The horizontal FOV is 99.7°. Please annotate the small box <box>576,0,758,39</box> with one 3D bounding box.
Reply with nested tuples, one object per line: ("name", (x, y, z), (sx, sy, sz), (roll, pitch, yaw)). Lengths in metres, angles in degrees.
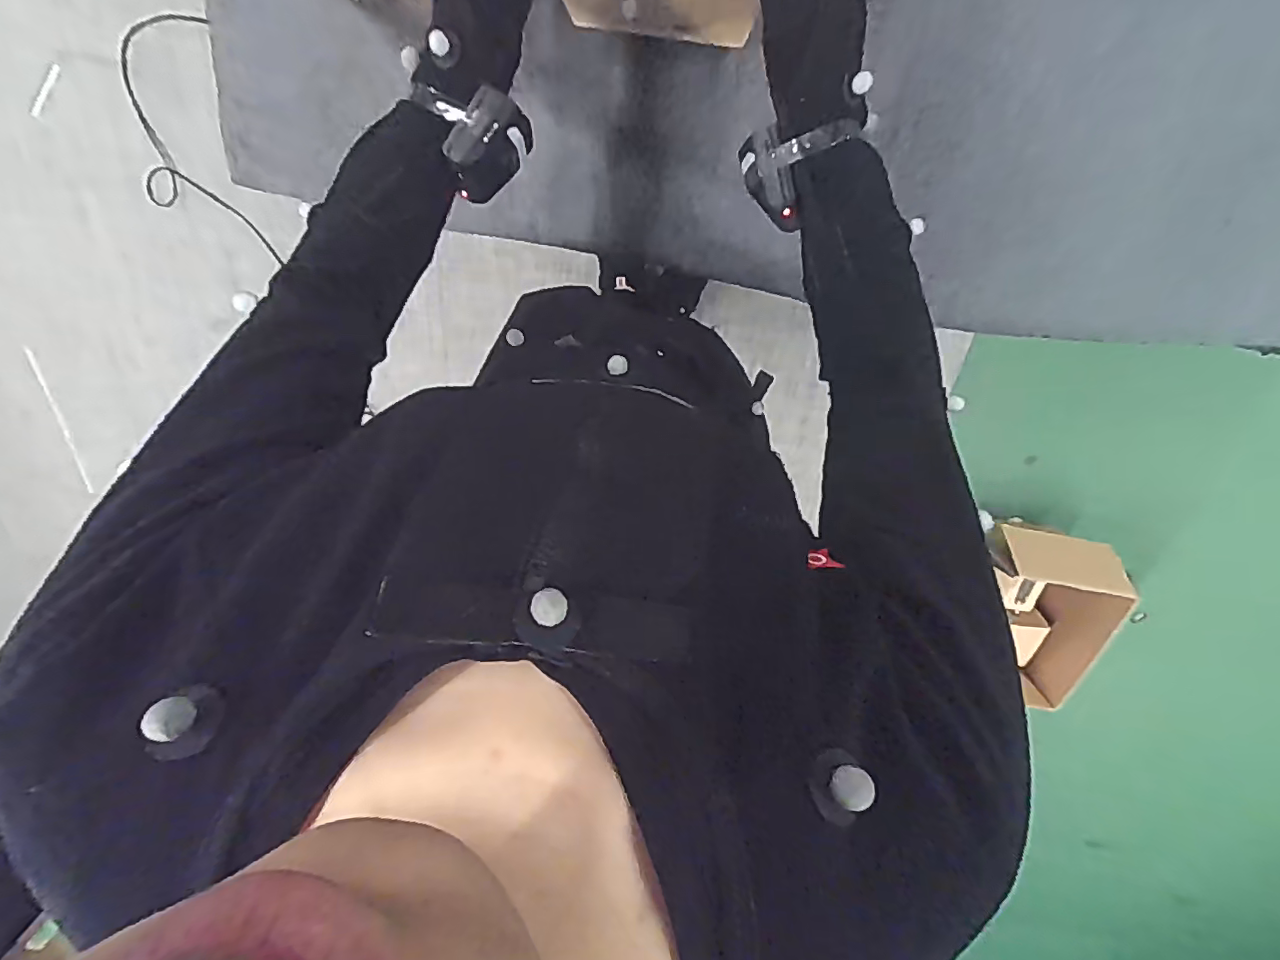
("small box", (0.025, -0.465, 0.403), (0.168, 0.176, 0.179), (8, 114, 0))
